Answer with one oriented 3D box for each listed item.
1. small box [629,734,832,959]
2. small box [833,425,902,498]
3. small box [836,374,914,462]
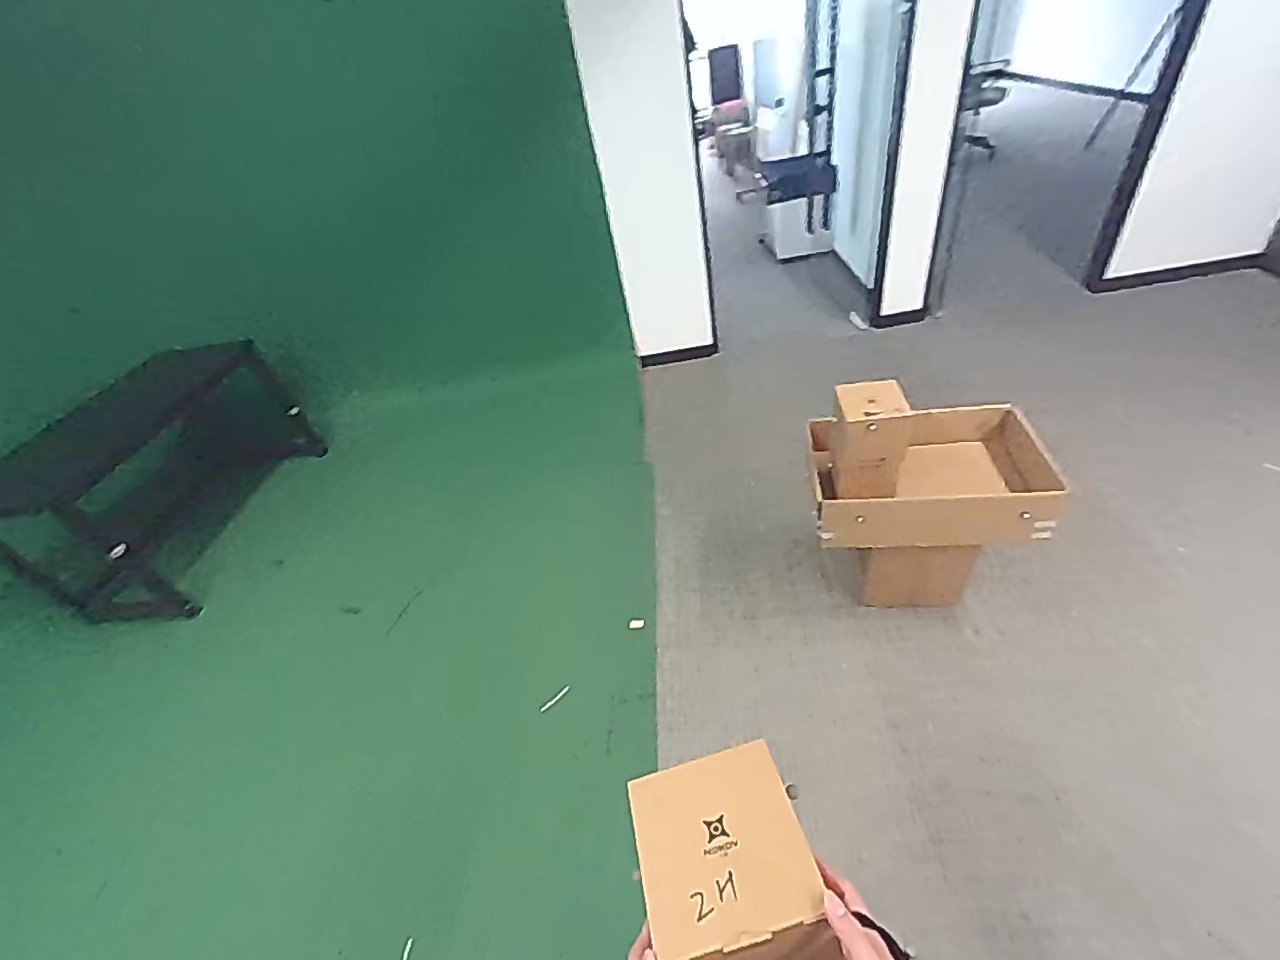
[{"bbox_3d":[0.094,0.425,0.595,0.168,0.176,0.179,-17,30,1],"label":"small box"},{"bbox_3d":[0.678,-0.056,1.628,0.168,0.176,0.179,-4,42,12],"label":"small box"},{"bbox_3d":[0.649,-0.173,1.517,0.168,0.176,0.179,-6,42,12],"label":"small box"}]
